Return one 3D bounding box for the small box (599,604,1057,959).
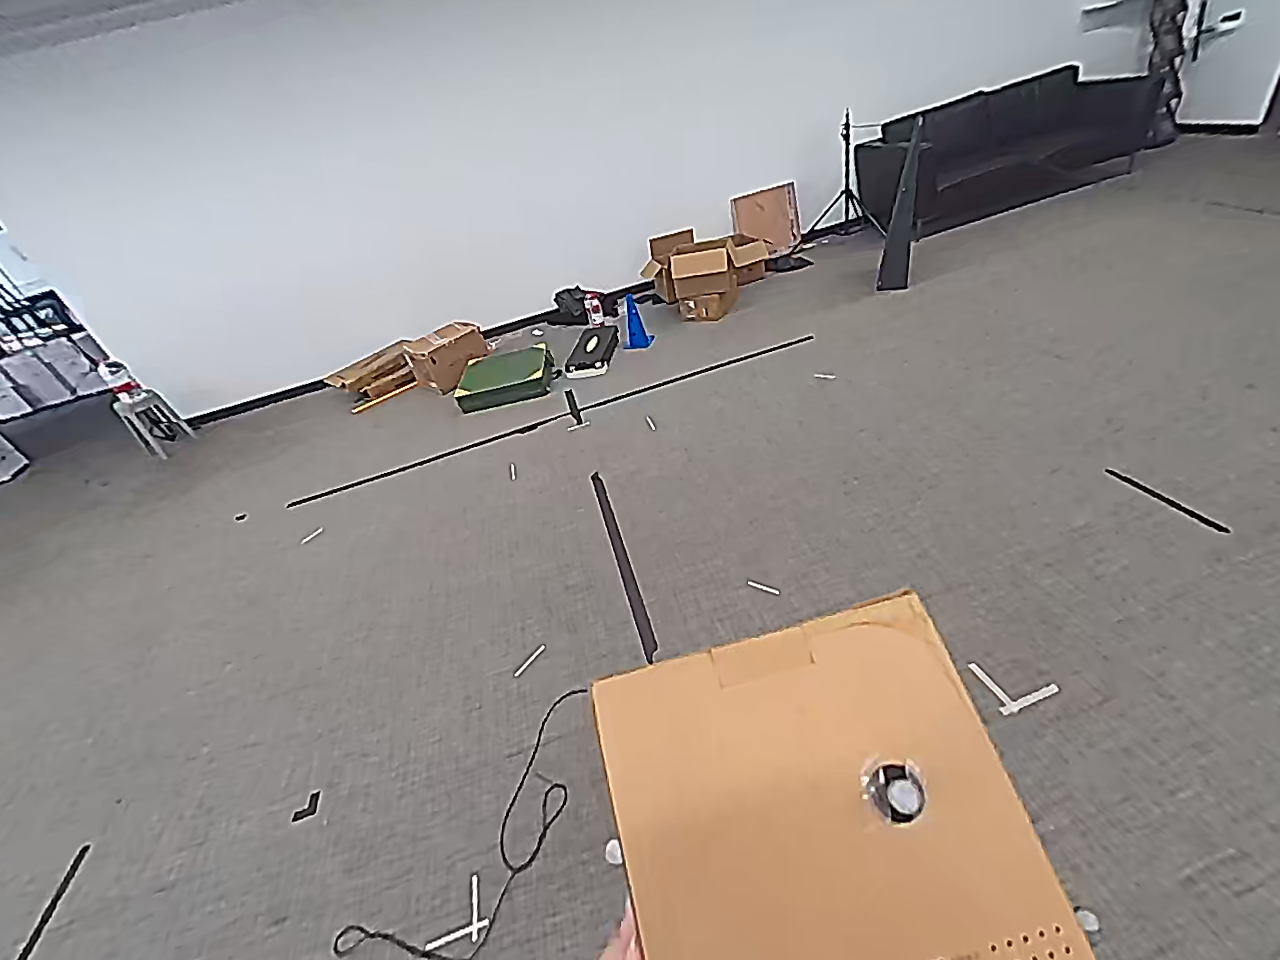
[{"bbox_3d":[0.087,0.191,0.317,0.168,0.179,0.176,-16,66,0],"label":"small box"}]
